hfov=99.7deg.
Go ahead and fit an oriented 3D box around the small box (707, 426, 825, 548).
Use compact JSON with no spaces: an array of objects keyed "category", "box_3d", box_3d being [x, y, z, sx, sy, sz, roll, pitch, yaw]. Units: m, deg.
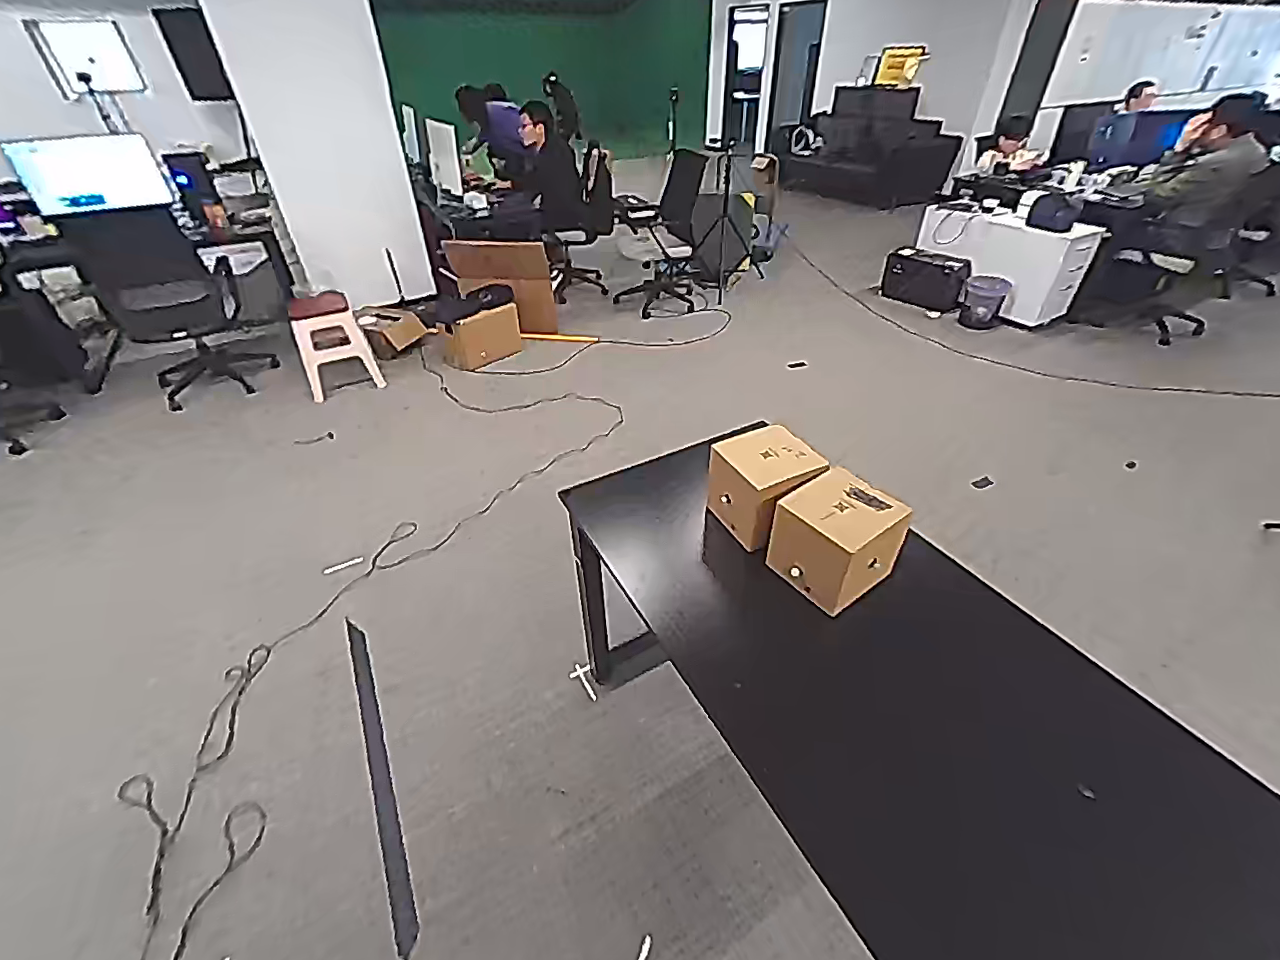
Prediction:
[{"category":"small box","box_3d":[0.255,0.015,1.133,0.179,0.176,0.168,-18,42,-20]}]
